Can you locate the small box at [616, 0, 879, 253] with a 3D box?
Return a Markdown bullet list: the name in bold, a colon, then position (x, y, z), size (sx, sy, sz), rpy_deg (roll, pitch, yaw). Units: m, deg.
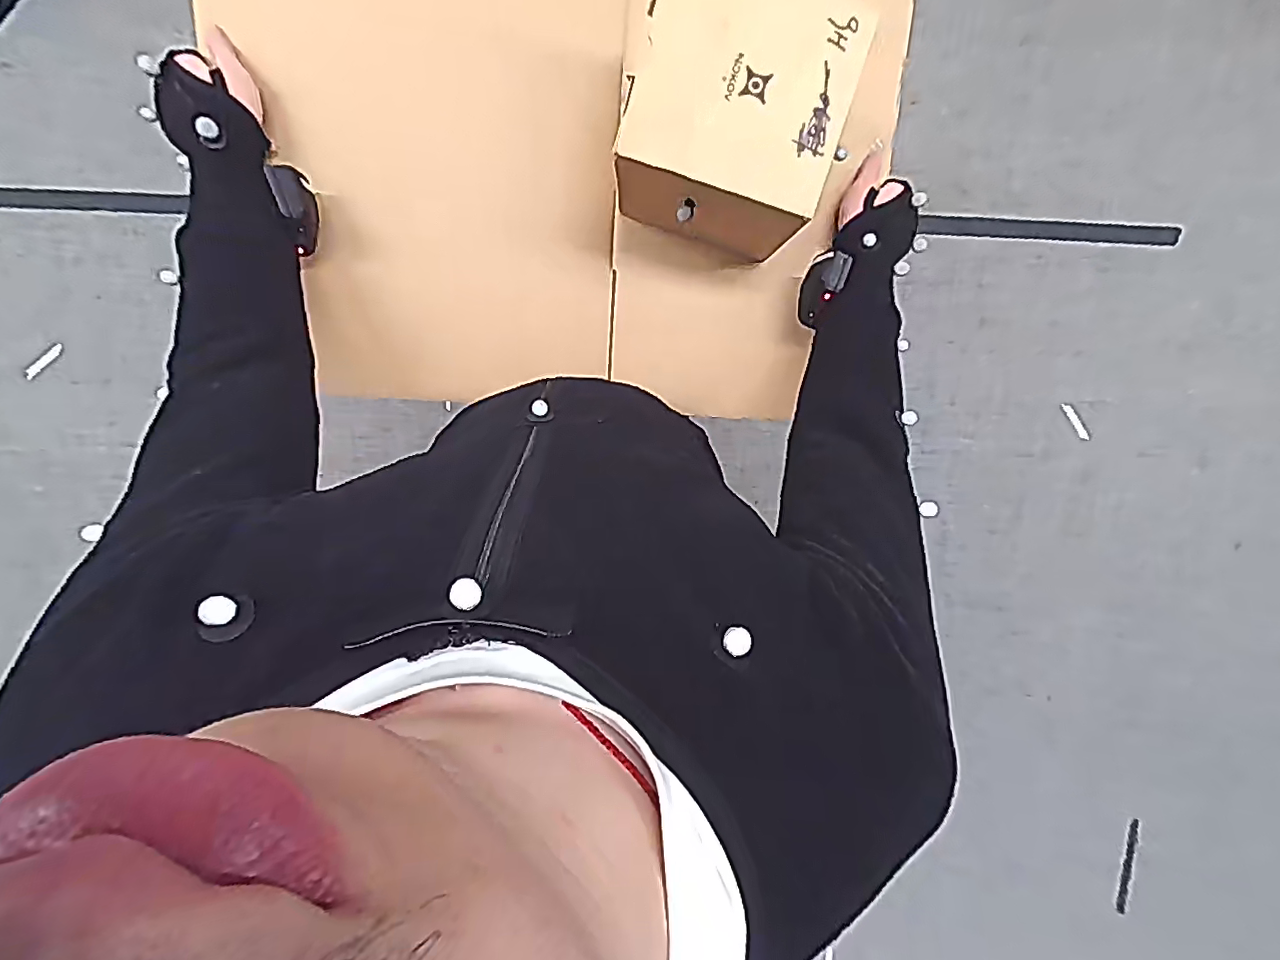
- **small box**: position (0.086, -0.338, 0.518), size (0.179, 0.176, 0.168), rpy_deg (17, 100, -3)
